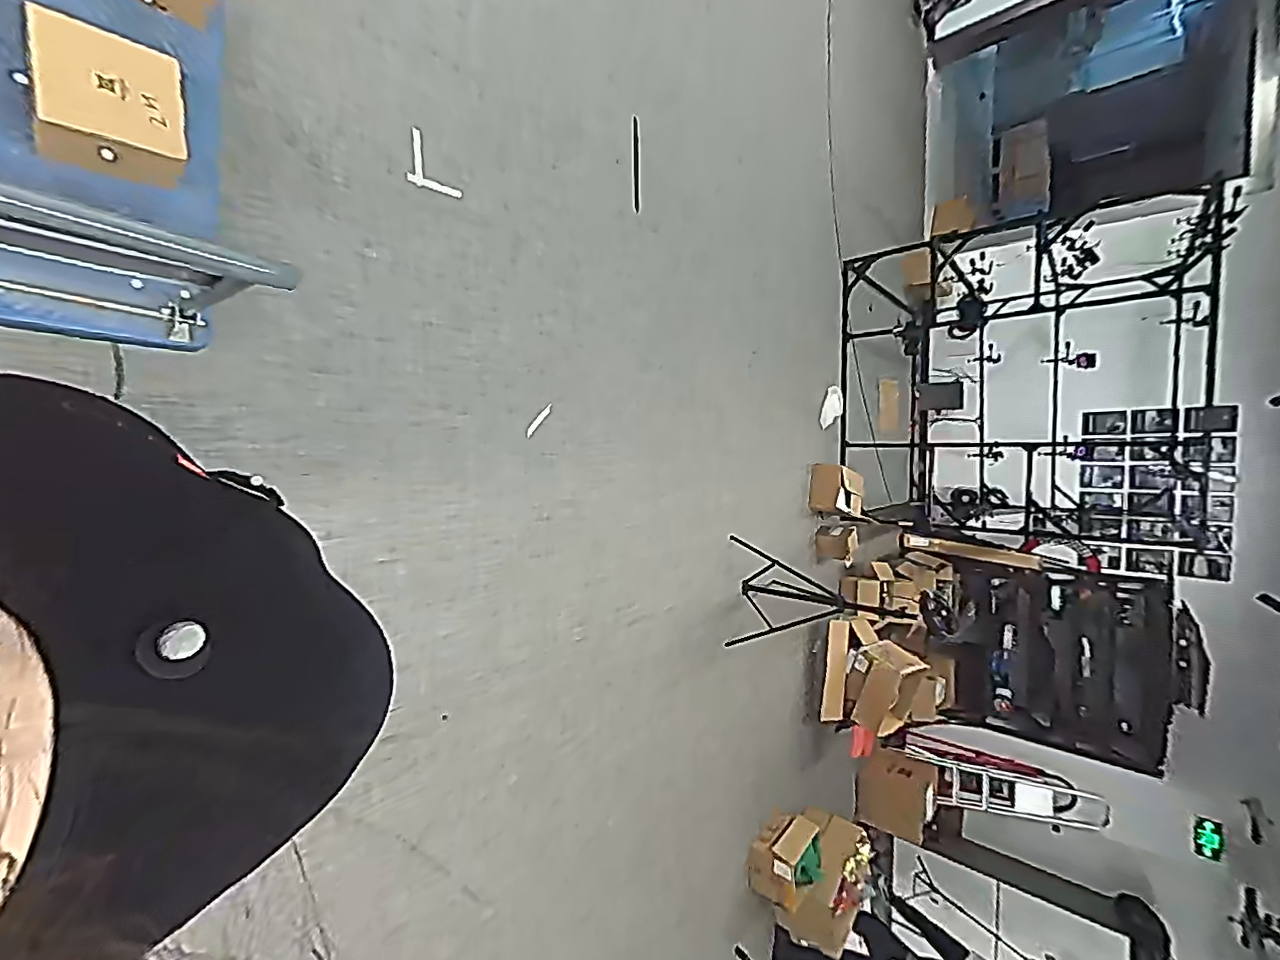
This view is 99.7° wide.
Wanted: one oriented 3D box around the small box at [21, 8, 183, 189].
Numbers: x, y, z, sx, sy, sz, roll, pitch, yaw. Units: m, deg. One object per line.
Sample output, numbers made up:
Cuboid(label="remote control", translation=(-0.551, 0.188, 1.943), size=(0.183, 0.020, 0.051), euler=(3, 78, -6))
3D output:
Cuboid(label="small box", translation=(-0.904, -0.620, 0.912), size=(0.179, 0.176, 0.168), euler=(-6, 97, -49))

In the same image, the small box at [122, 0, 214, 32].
Cuboid(label="small box", translation=(-0.861, -0.954, 0.945), size=(0.168, 0.176, 0.179), euler=(-3, 95, -49))
